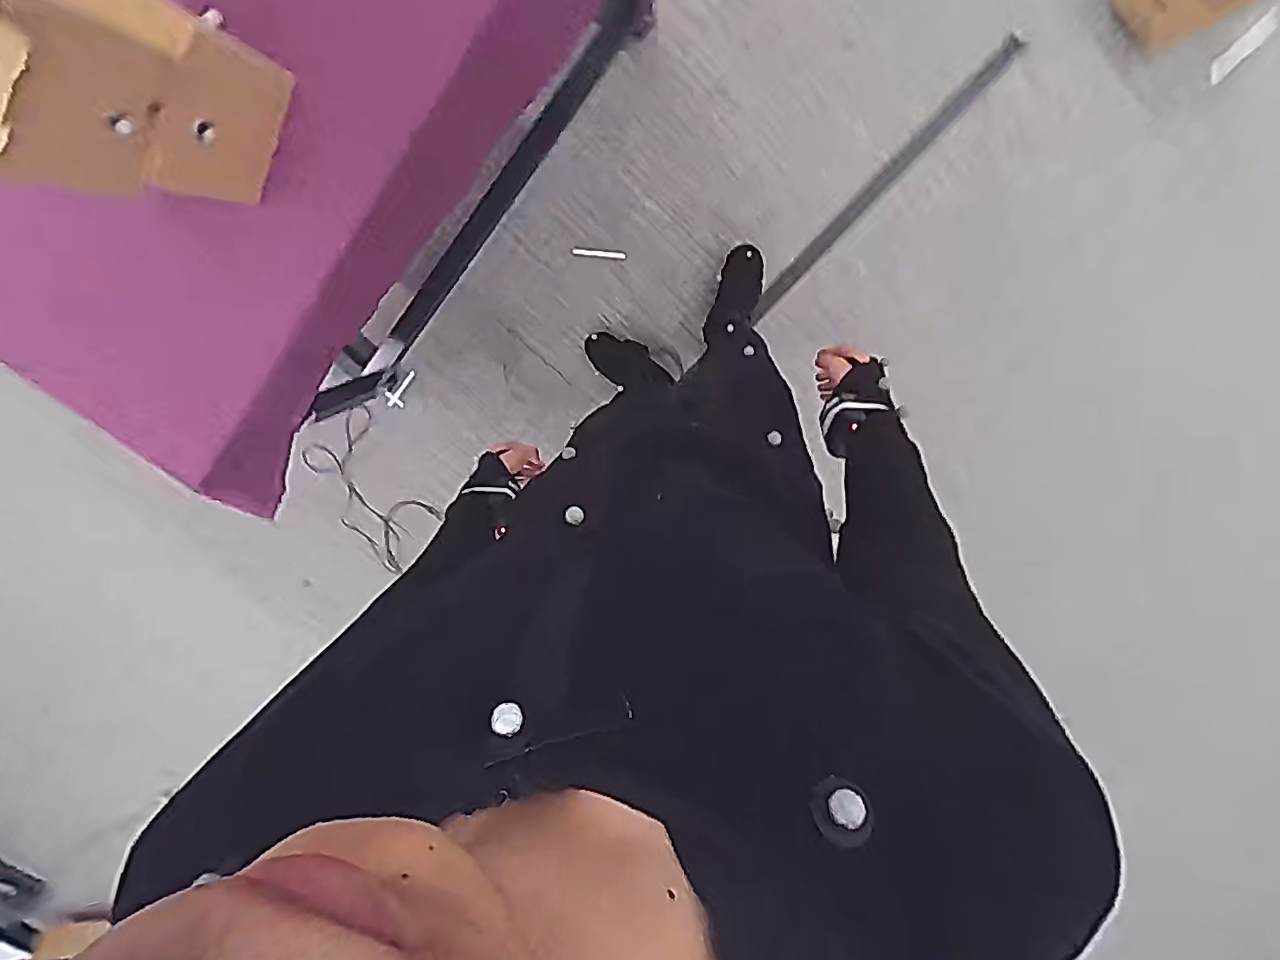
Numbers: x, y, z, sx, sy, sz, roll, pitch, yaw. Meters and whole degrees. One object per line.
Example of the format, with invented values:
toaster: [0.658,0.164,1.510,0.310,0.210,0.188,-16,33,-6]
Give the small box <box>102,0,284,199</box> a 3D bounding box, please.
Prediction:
small box: [-0.568,-0.464,0.642,0.168,0.176,0.179,29,109,-9]

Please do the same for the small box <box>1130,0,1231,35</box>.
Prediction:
small box: [1.156,-1.078,1.108,0.168,0.176,0.179,36,108,-11]

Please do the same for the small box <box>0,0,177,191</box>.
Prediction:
small box: [-0.595,-0.394,0.494,0.179,0.176,0.168,34,109,-10]
